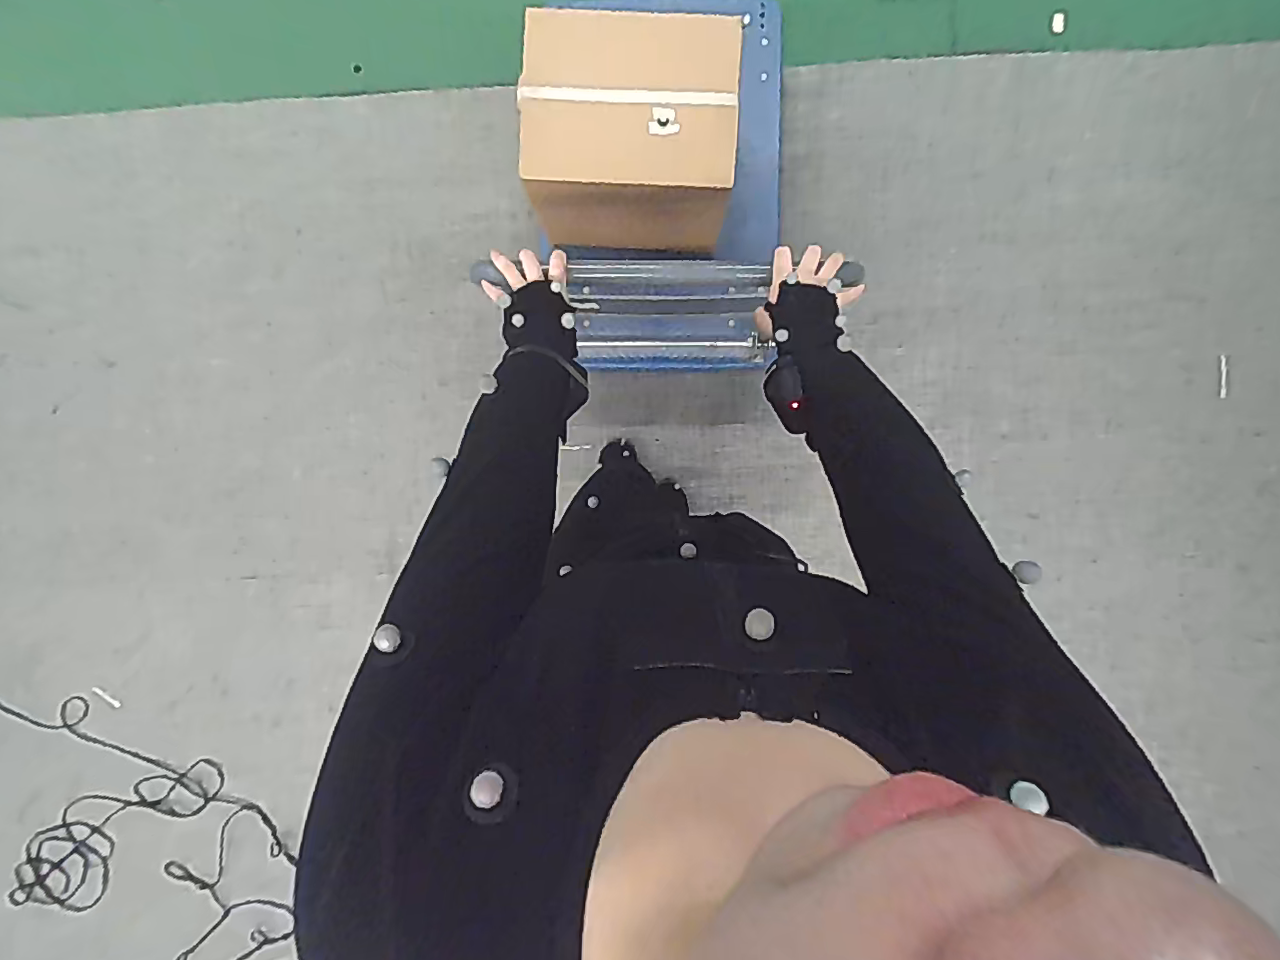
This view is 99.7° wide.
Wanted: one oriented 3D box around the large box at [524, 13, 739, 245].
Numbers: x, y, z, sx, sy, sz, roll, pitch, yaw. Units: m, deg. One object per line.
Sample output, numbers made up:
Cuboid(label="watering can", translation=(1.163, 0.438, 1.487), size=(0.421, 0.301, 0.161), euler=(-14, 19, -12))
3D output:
Cuboid(label="large box", translation=(-0.018, -0.724, 1.167), size=(0.408, 0.320, 0.320), euler=(3, 92, 0))
